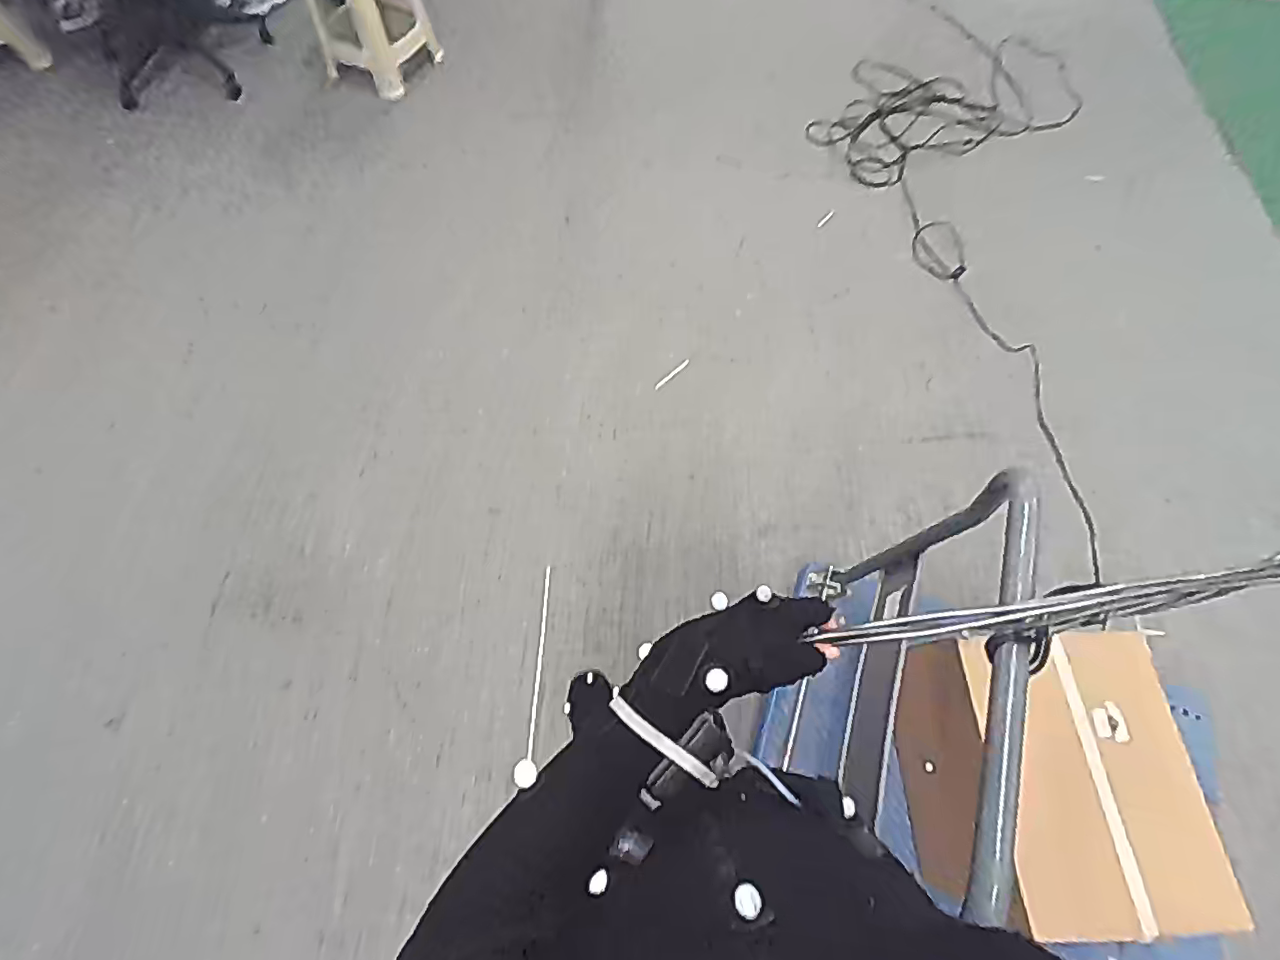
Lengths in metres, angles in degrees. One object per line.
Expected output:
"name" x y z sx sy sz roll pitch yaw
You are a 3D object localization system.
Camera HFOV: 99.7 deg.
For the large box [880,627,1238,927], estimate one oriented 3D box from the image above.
"large box" 0.680 0.498 0.969 0.320 0.320 0.408 -1 66 -2
